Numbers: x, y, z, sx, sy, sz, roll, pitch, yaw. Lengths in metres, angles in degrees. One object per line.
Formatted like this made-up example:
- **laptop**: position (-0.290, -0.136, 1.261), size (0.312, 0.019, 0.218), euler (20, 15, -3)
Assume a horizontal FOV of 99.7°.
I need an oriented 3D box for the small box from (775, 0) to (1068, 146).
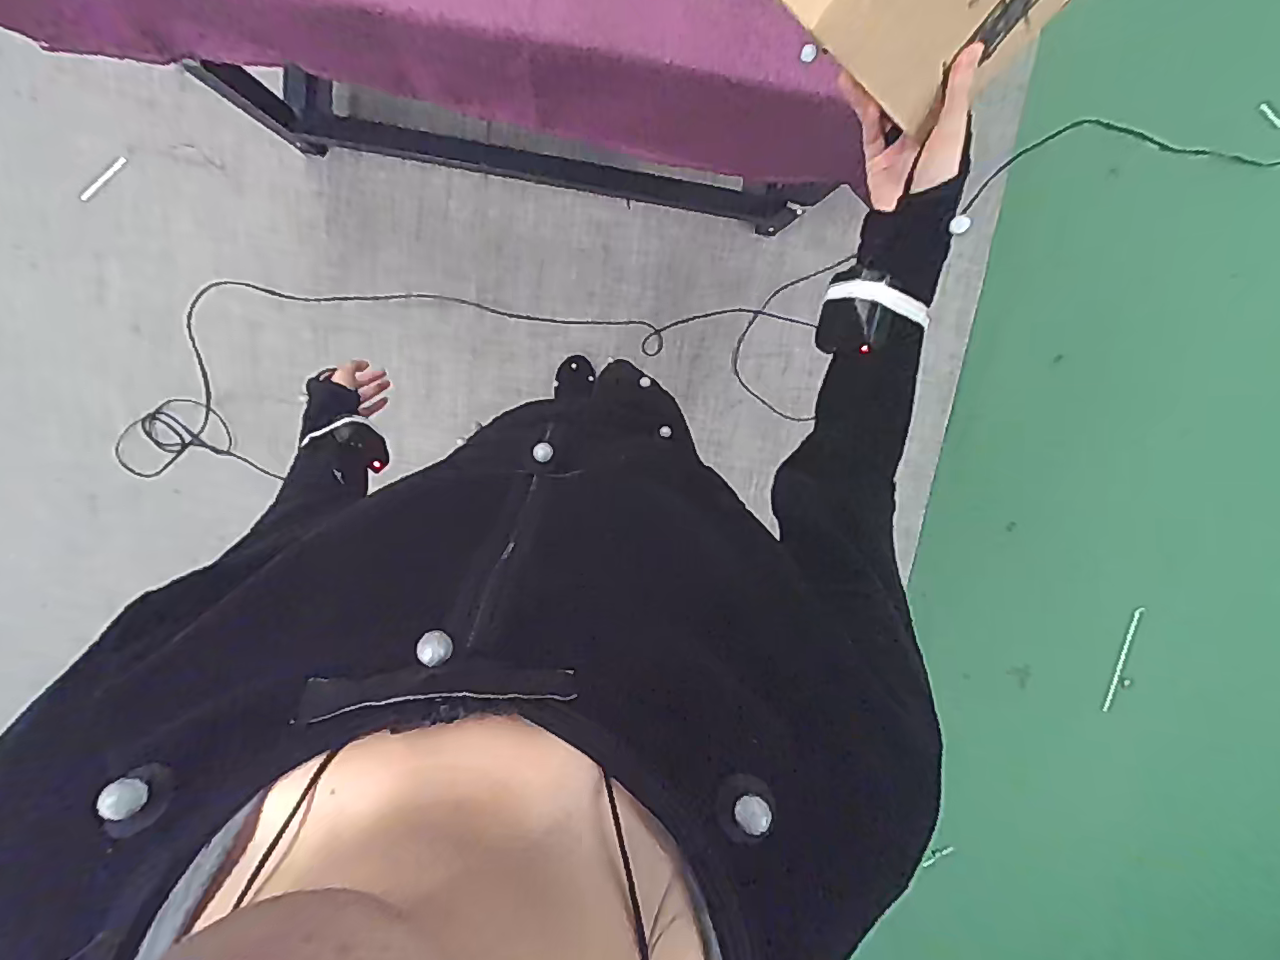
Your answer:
- **small box**: position (0.181, -0.378, 0.358), size (0.179, 0.176, 0.168), euler (2, 145, -42)
